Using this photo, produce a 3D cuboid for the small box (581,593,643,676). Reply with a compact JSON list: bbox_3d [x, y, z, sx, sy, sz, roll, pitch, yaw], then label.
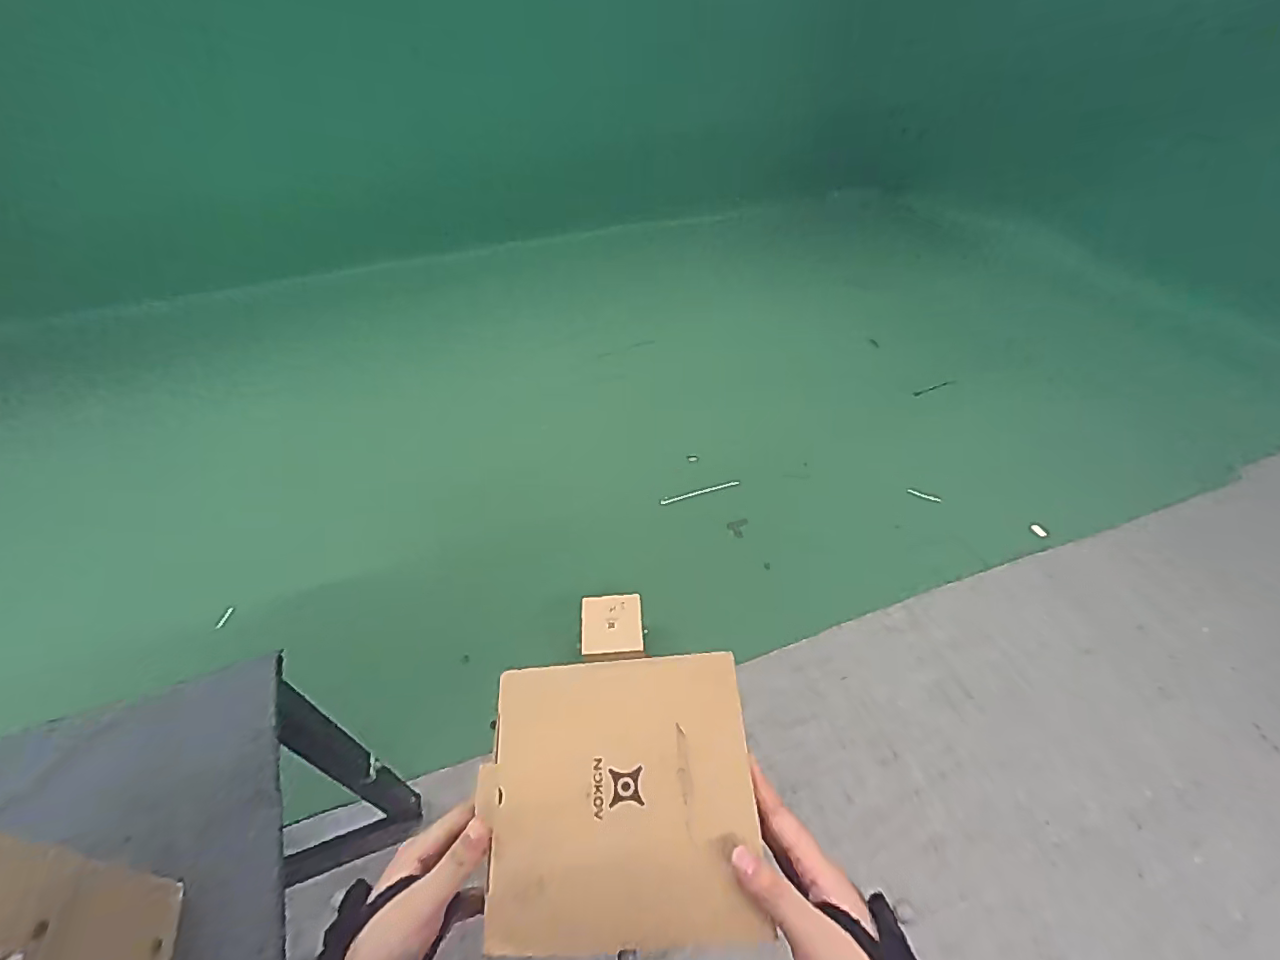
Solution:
[{"bbox_3d":[-0.076,0.441,1.528,0.168,0.176,0.179,-2,46,-2],"label":"small box"}]
